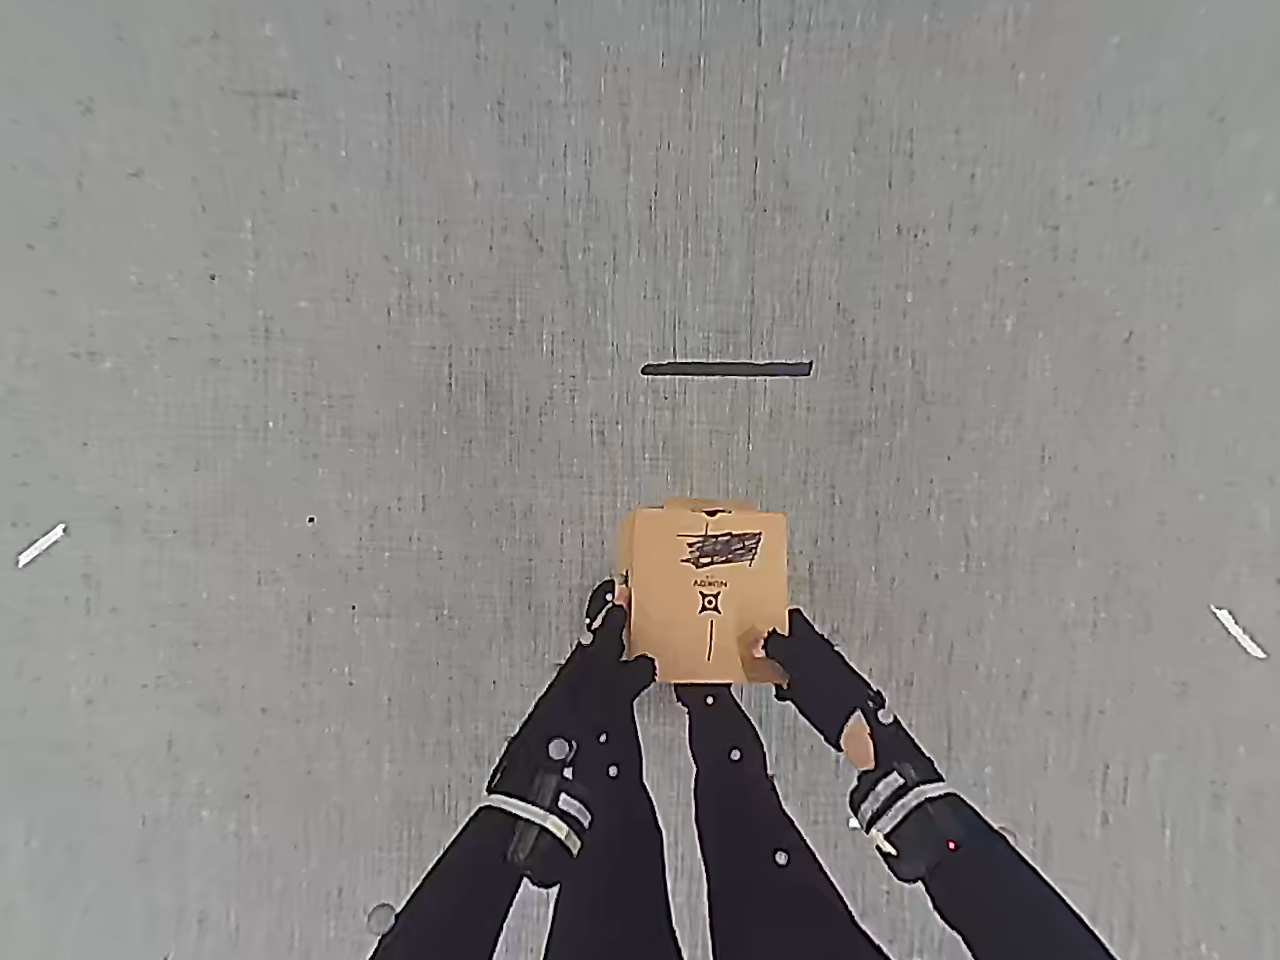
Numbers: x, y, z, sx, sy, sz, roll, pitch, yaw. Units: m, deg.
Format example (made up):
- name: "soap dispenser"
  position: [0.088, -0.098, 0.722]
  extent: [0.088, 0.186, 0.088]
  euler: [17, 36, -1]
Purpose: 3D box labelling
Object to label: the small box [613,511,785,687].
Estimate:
- name: "small box"
  position: [0.059, 0.137, 0.636]
  extent: [0.168, 0.176, 0.179]
  euler: [3, 79, -7]
